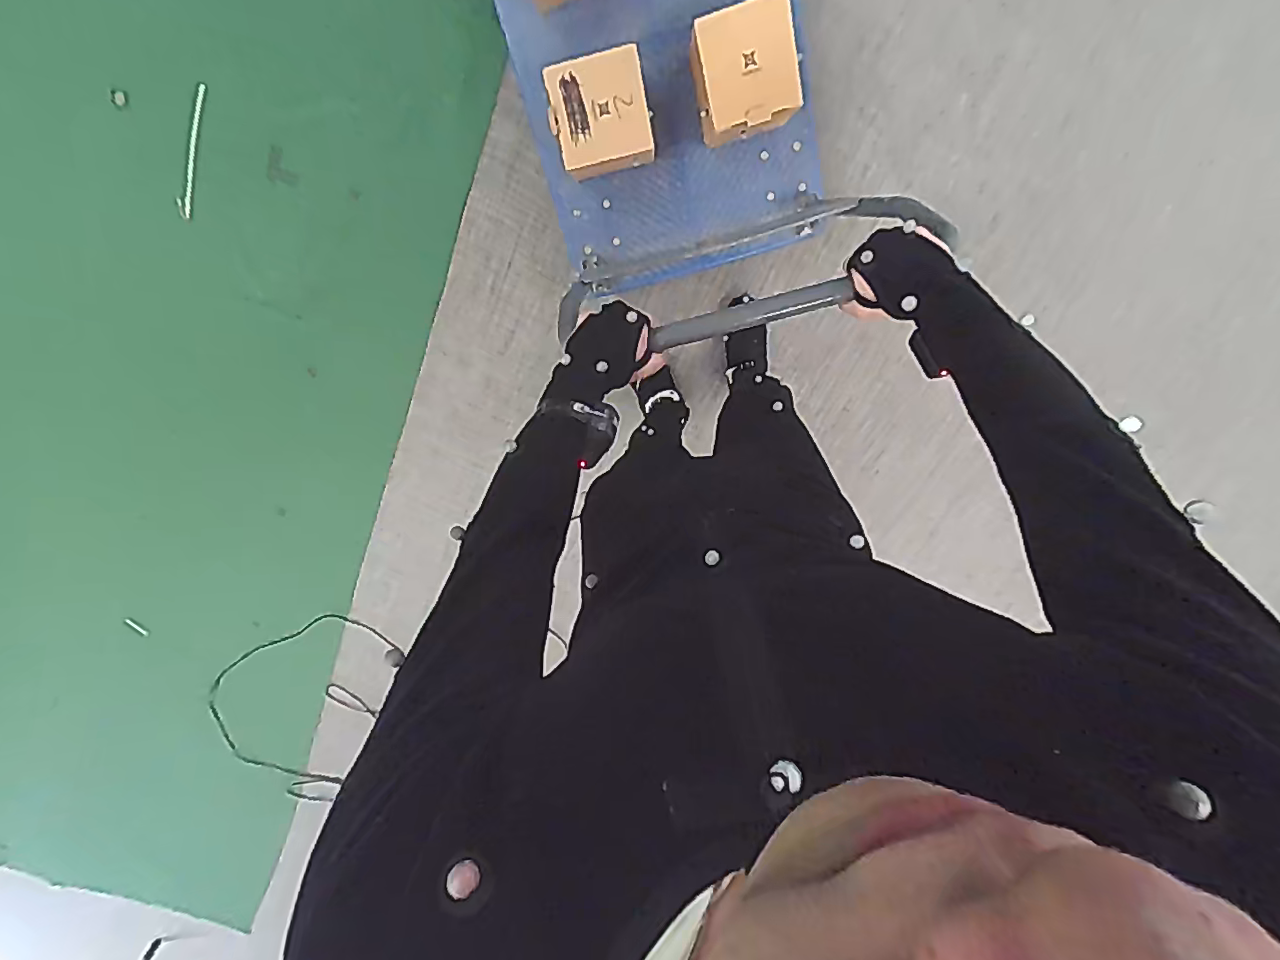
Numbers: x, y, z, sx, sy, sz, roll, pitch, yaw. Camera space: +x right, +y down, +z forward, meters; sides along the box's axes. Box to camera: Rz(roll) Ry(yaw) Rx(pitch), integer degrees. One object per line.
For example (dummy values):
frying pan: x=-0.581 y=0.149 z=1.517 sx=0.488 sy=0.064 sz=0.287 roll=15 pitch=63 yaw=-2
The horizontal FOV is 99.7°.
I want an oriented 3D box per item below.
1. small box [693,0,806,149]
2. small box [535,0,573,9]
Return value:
small box: x=0.201 y=-0.759 z=1.028 sx=0.168 sy=0.176 sz=0.179 roll=-14 pitch=113 yaw=7
small box: x=-0.142 y=-0.968 z=0.940 sx=0.168 sy=0.176 sz=0.179 roll=-17 pitch=112 yaw=8
